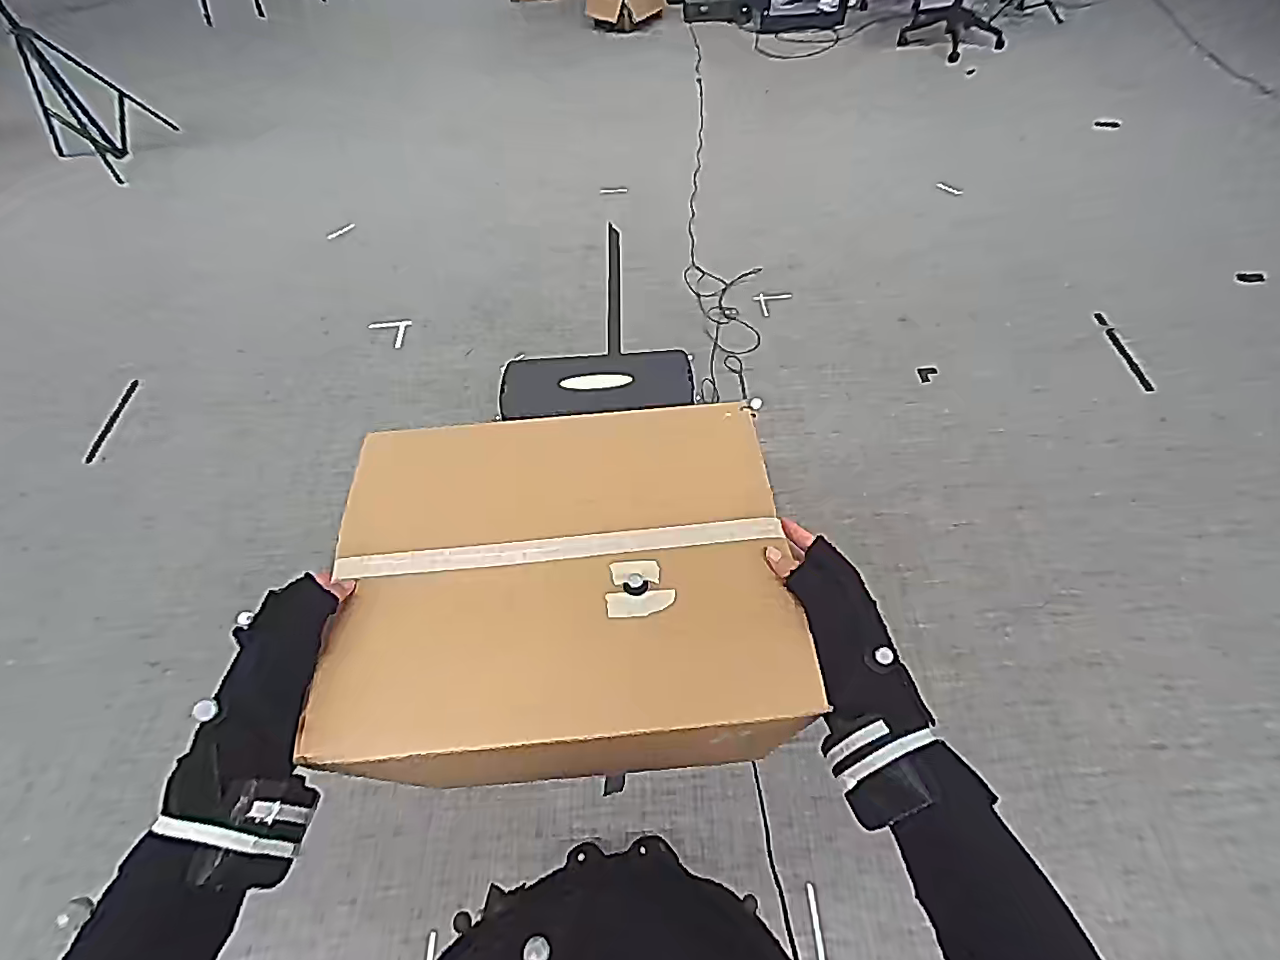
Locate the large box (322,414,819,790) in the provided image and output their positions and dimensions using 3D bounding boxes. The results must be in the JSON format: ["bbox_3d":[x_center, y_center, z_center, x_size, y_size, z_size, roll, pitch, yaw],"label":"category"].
[{"bbox_3d":[-0.063,0.154,0.630,0.408,0.320,0.320,-5,57,-2],"label":"large box"}]
